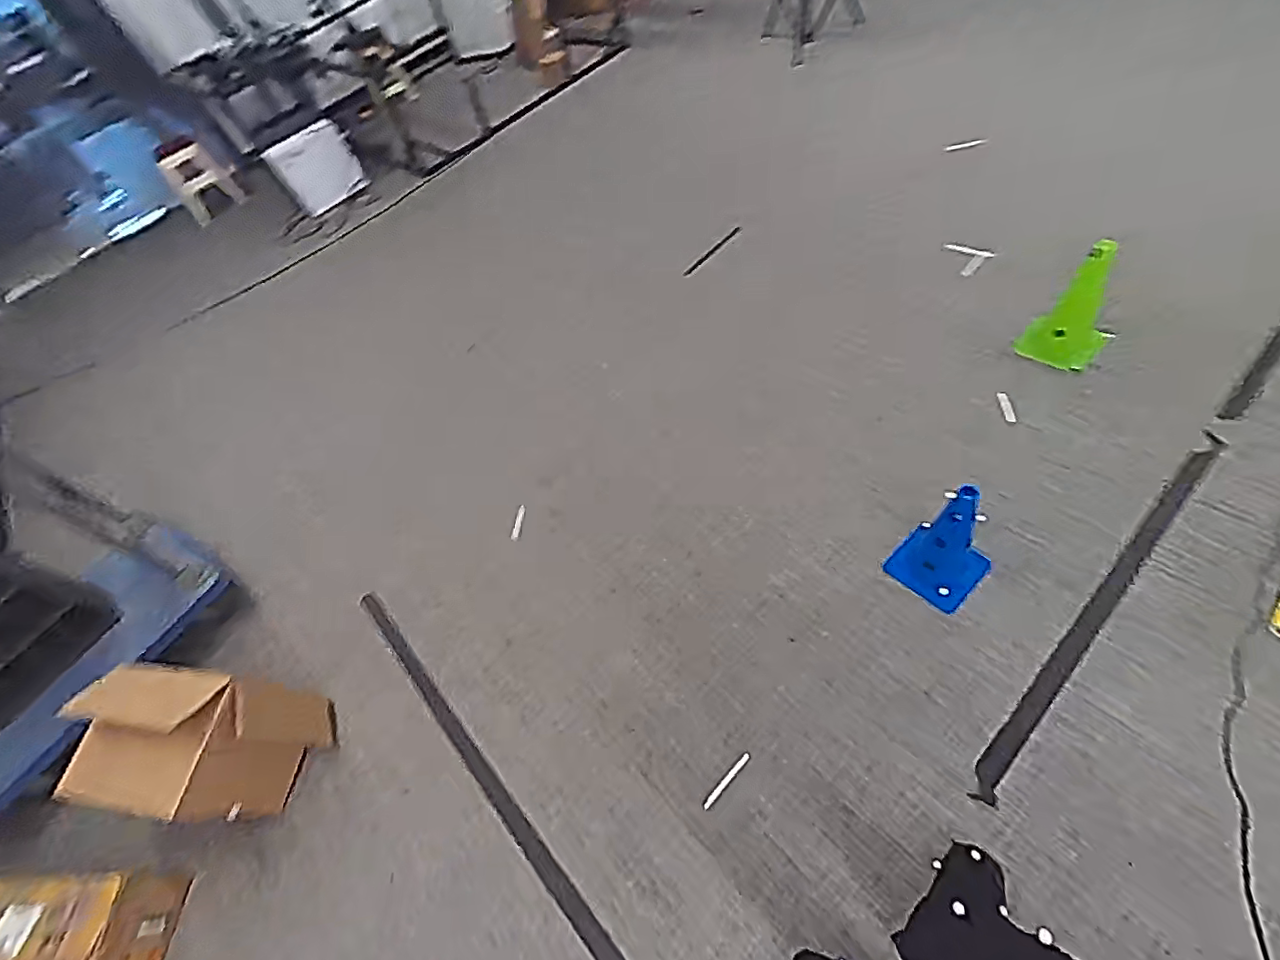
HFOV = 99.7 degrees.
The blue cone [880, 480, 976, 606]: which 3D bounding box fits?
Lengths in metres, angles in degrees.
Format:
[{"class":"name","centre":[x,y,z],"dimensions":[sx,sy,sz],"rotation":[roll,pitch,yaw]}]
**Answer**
[{"class":"blue cone","centre":[0.720,0.128,1.299],"dimensions":[0.193,0.380,0.192],"rotation":[-40,53,-13]}]

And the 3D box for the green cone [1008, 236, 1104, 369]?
[{"class":"green cone","centre":[1.279,-0.542,1.591],"dimensions":[0.200,0.368,0.202],"rotation":[-44,54,-15]}]
